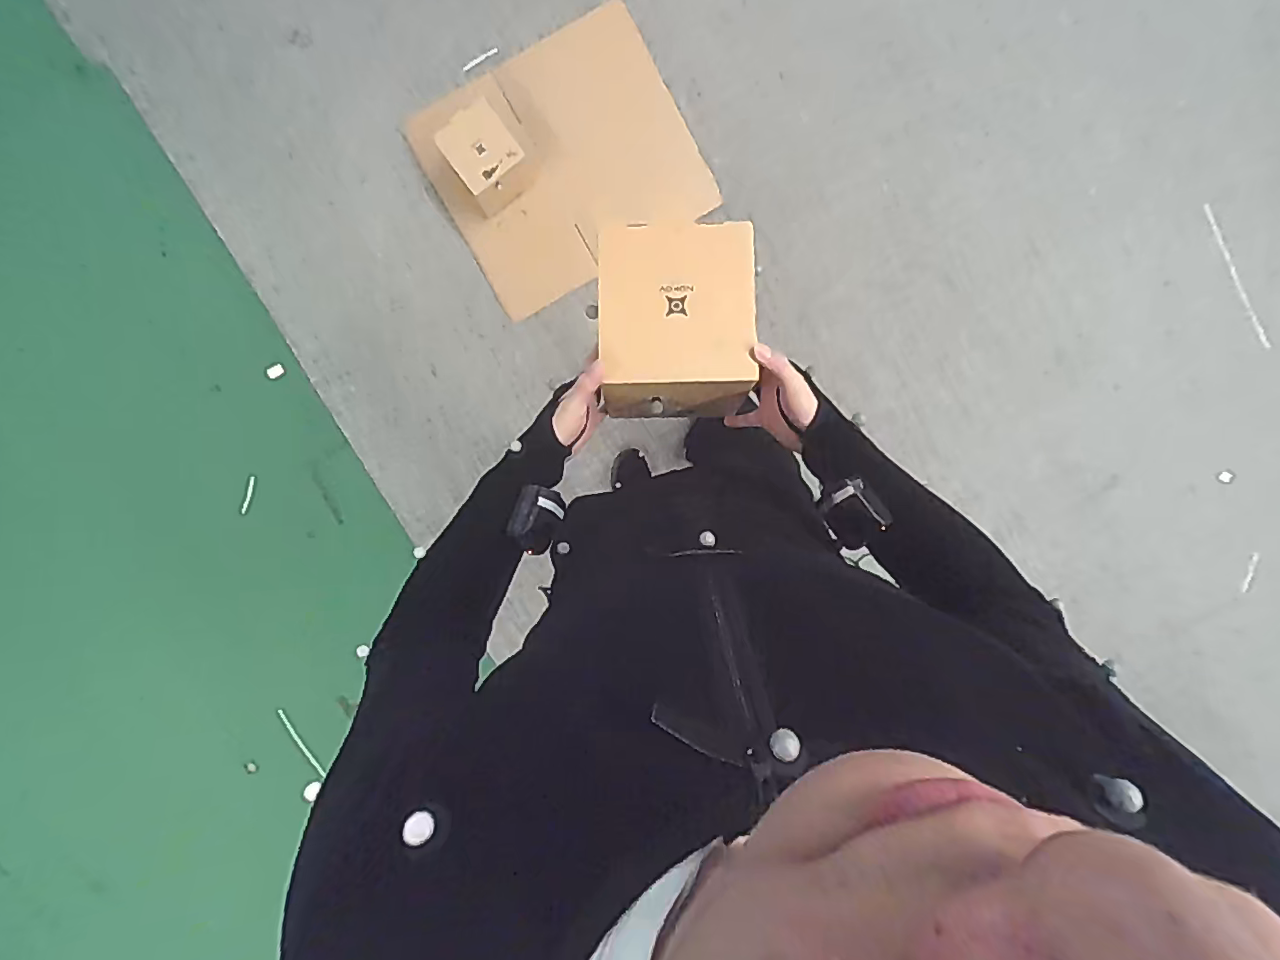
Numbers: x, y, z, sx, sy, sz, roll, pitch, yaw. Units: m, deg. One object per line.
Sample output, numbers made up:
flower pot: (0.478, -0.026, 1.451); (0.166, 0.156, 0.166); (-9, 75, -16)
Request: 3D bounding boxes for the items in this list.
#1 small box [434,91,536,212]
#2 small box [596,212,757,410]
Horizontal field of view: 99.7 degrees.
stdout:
small box: (-0.394, -0.842, 1.406); (0.168, 0.176, 0.179); (-37, 96, 3)
small box: (0.040, -0.182, 0.634); (0.168, 0.176, 0.179); (-1, 83, 2)
